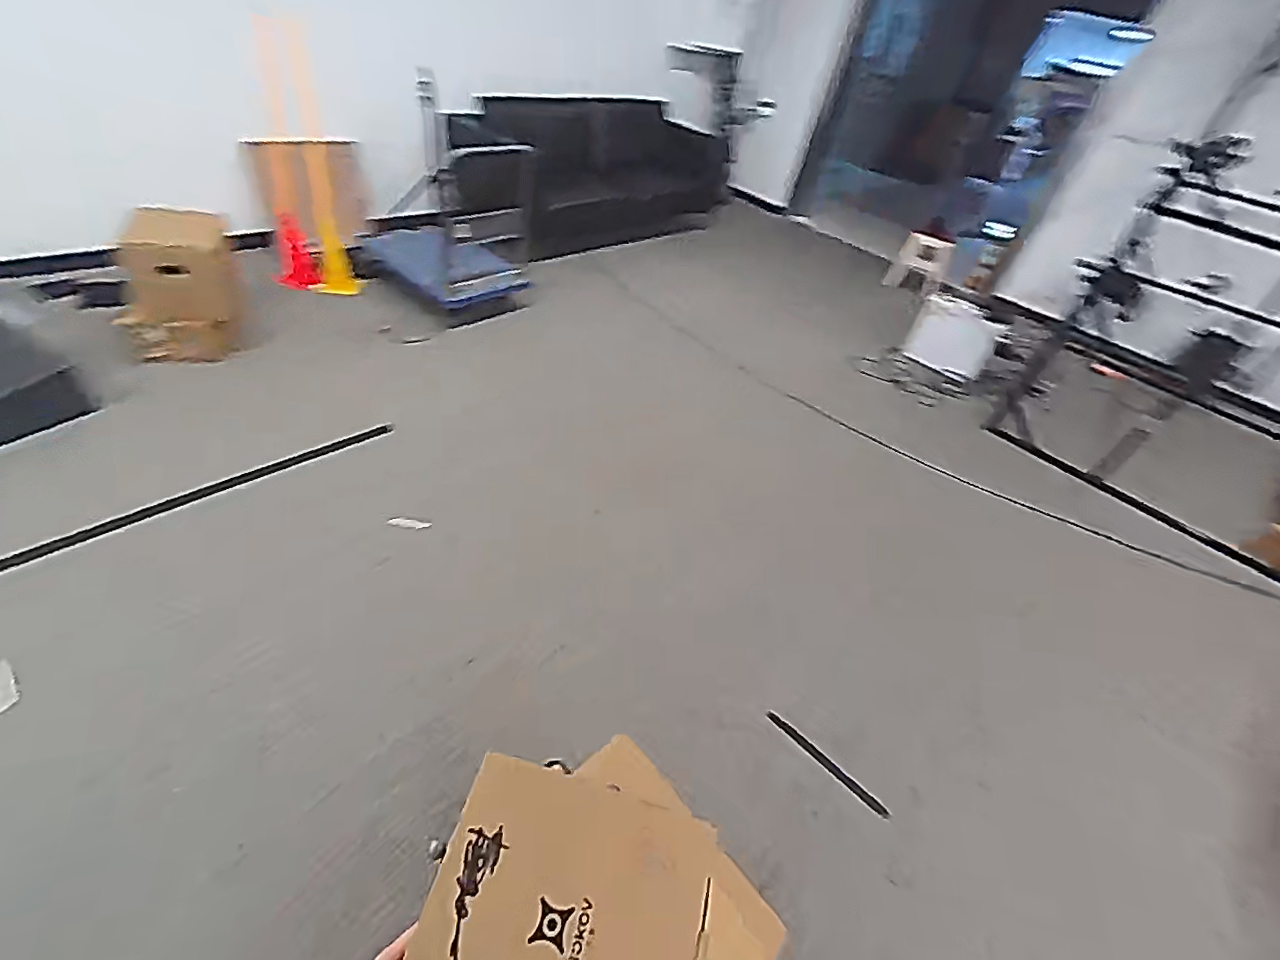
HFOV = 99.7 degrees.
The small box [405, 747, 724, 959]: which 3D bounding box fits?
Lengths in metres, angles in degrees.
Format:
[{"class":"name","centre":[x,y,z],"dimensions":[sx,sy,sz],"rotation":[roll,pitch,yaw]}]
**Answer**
[{"class":"small box","centre":[-0.060,0.319,0.390],"dimensions":[0.179,0.176,0.168],"rotation":[20,51,-1]}]

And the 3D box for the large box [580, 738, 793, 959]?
[{"class":"large box","centre":[-0.025,0.760,0.935],"dimensions":[0.320,0.320,0.408],"rotation":[-26,53,-36]}]
